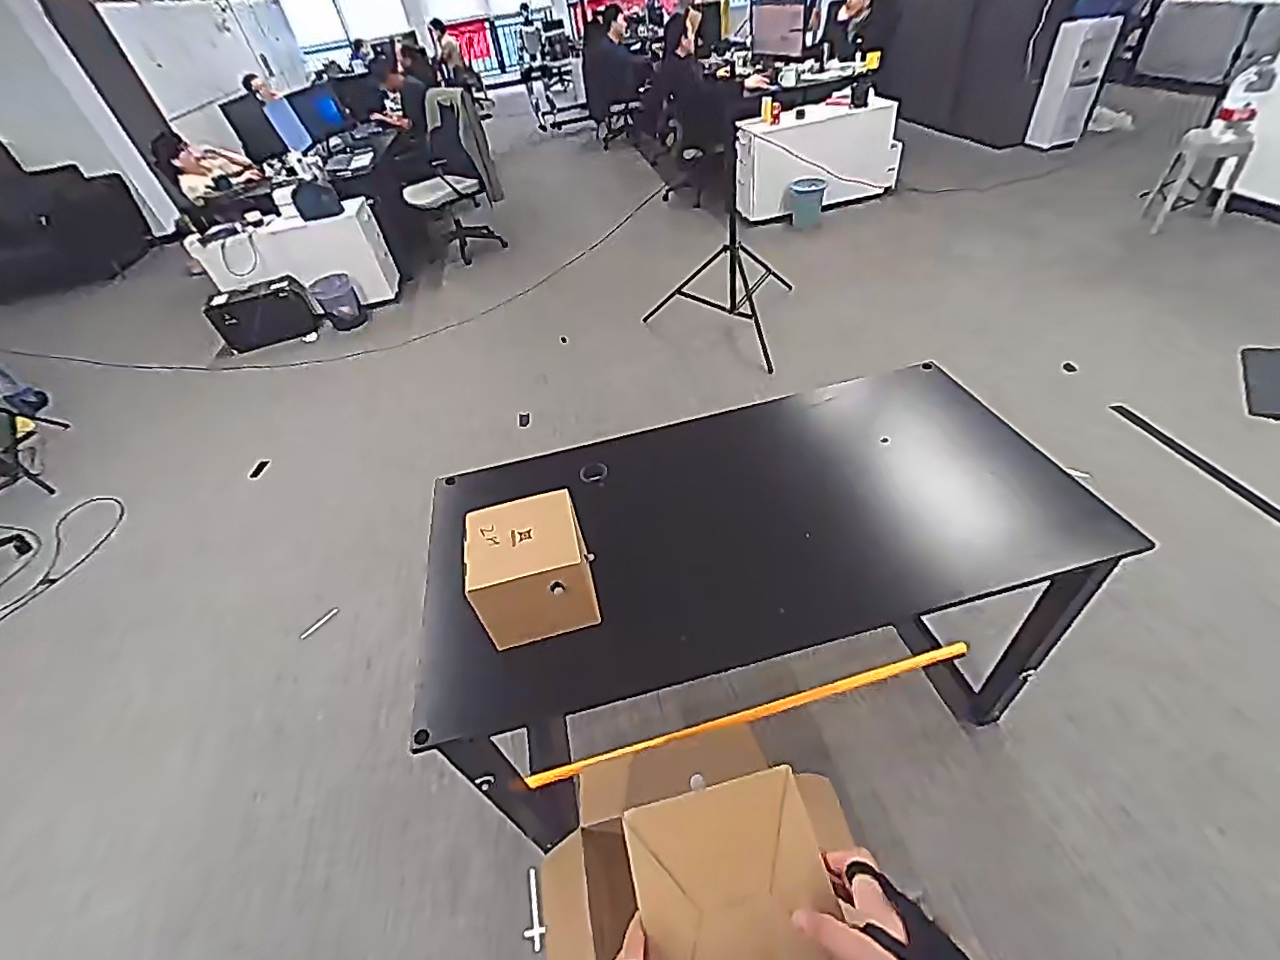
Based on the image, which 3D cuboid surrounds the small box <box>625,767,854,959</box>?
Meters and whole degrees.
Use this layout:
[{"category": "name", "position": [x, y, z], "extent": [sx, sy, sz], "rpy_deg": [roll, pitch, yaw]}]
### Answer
[{"category": "small box", "position": [0.089, 0.401, 0.526], "extent": [0.168, 0.176, 0.179], "rpy_deg": [-15, 57, -2]}]

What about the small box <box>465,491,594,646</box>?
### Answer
[{"category": "small box", "position": [-0.179, 0.149, 0.903], "extent": [0.179, 0.176, 0.168], "rpy_deg": [-14, 43, -5]}]
